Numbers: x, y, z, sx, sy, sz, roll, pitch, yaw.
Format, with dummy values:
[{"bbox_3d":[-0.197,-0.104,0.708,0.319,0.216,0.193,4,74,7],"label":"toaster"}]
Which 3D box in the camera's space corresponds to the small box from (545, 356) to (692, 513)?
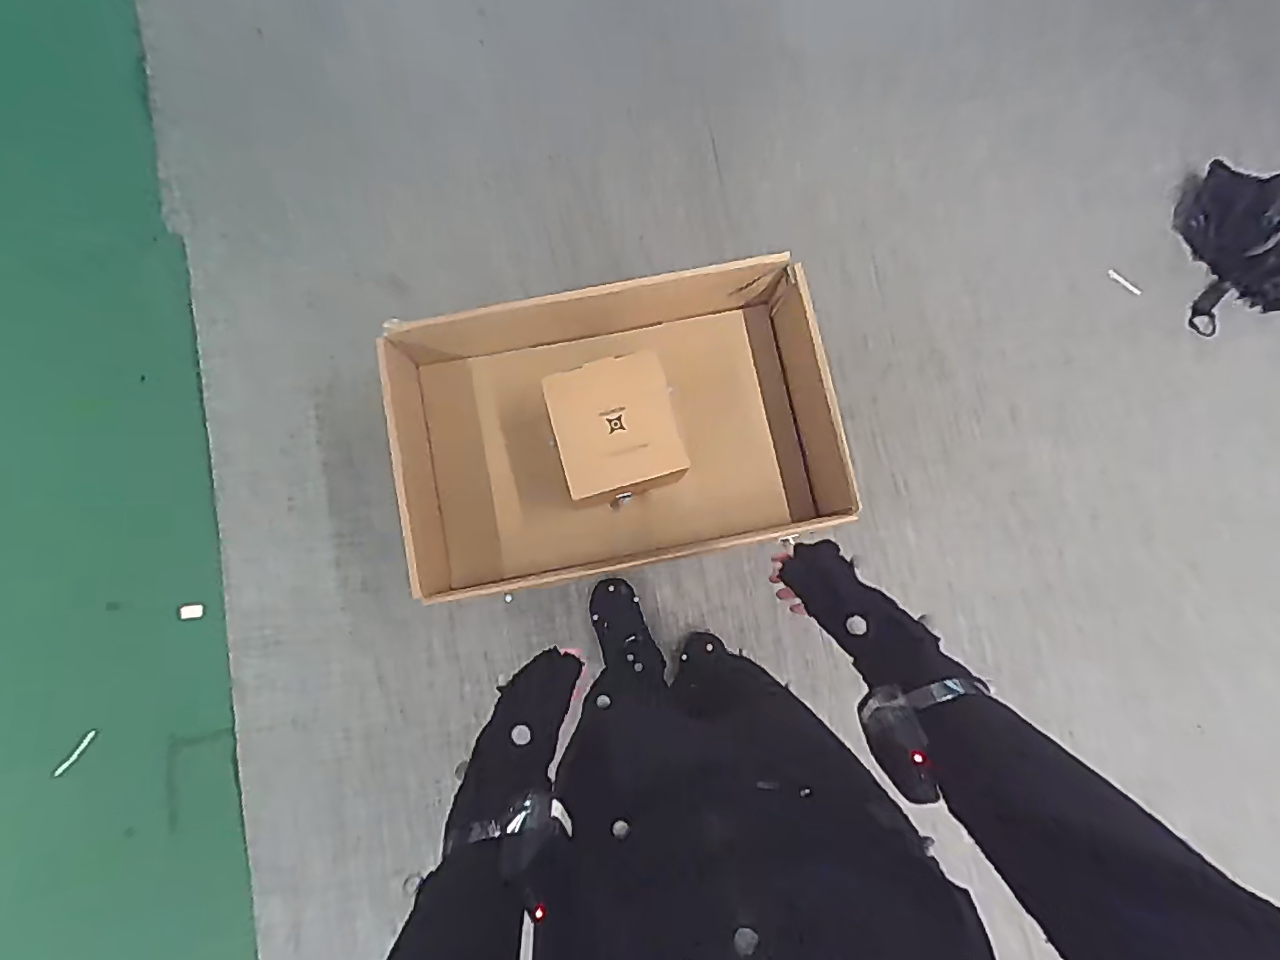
[{"bbox_3d":[-0.032,-0.058,0.803,0.168,0.176,0.179,-16,83,-2],"label":"small box"}]
